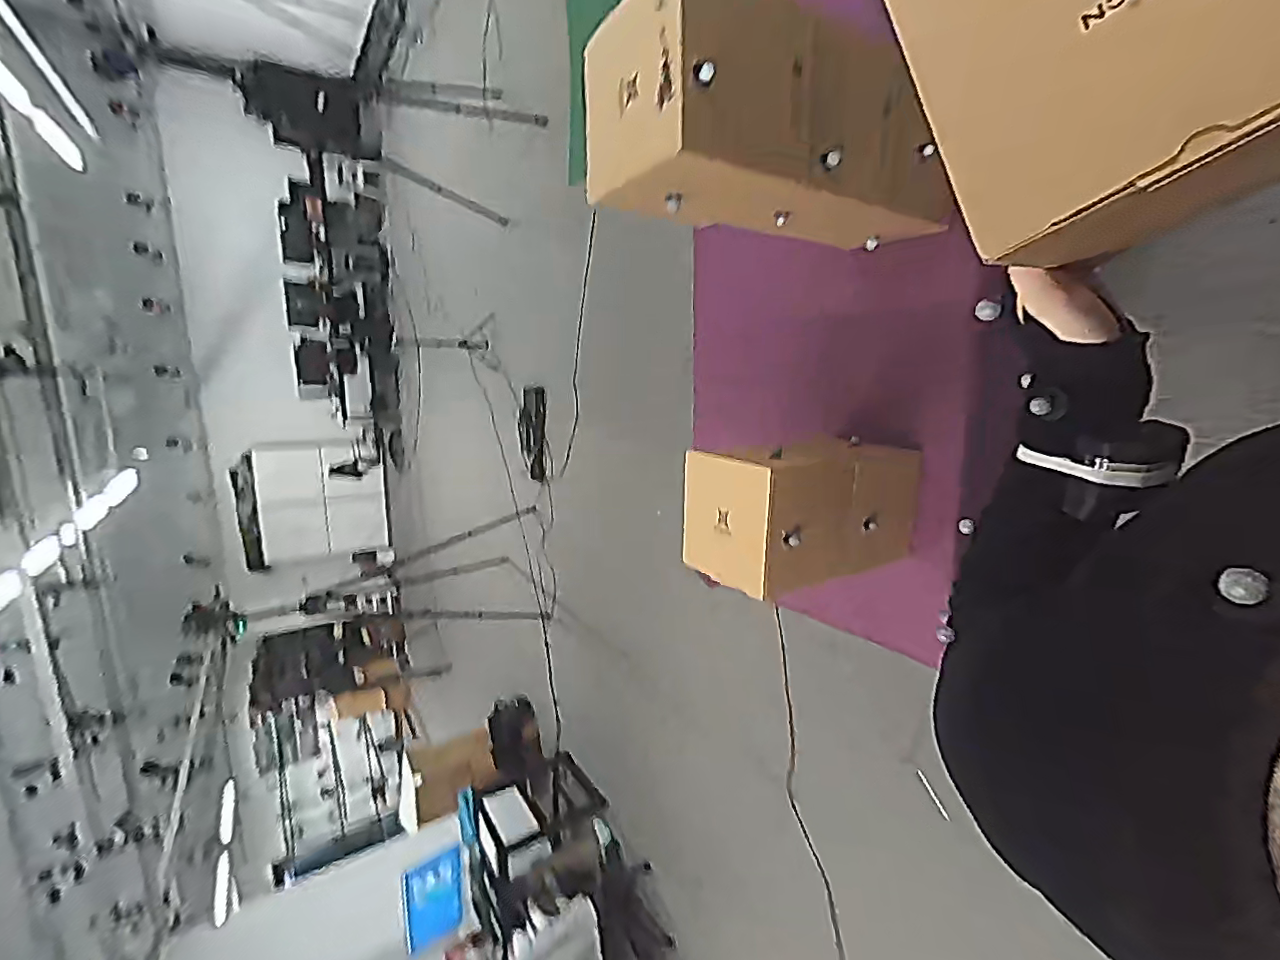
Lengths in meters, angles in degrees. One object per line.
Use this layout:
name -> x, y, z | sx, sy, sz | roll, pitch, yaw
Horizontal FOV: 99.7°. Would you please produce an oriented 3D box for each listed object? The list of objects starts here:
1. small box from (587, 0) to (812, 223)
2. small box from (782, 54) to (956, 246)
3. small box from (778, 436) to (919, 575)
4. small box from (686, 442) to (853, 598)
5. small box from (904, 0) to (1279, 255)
small box -> 0.057, -0.390, 0.579 | 0.179, 0.176, 0.168 | 13, 108, 57
small box -> 0.324, -0.446, 0.765 | 0.168, 0.176, 0.179 | 17, 112, 54
small box -> 0.320, 0.030, 0.865 | 0.168, 0.176, 0.179 | 17, 110, 54
small box -> 0.184, 0.043, 0.775 | 0.168, 0.176, 0.179 | 17, 111, 54
small box -> 0.261, -0.230, 0.259 | 0.168, 0.176, 0.179 | -20, 85, 55
